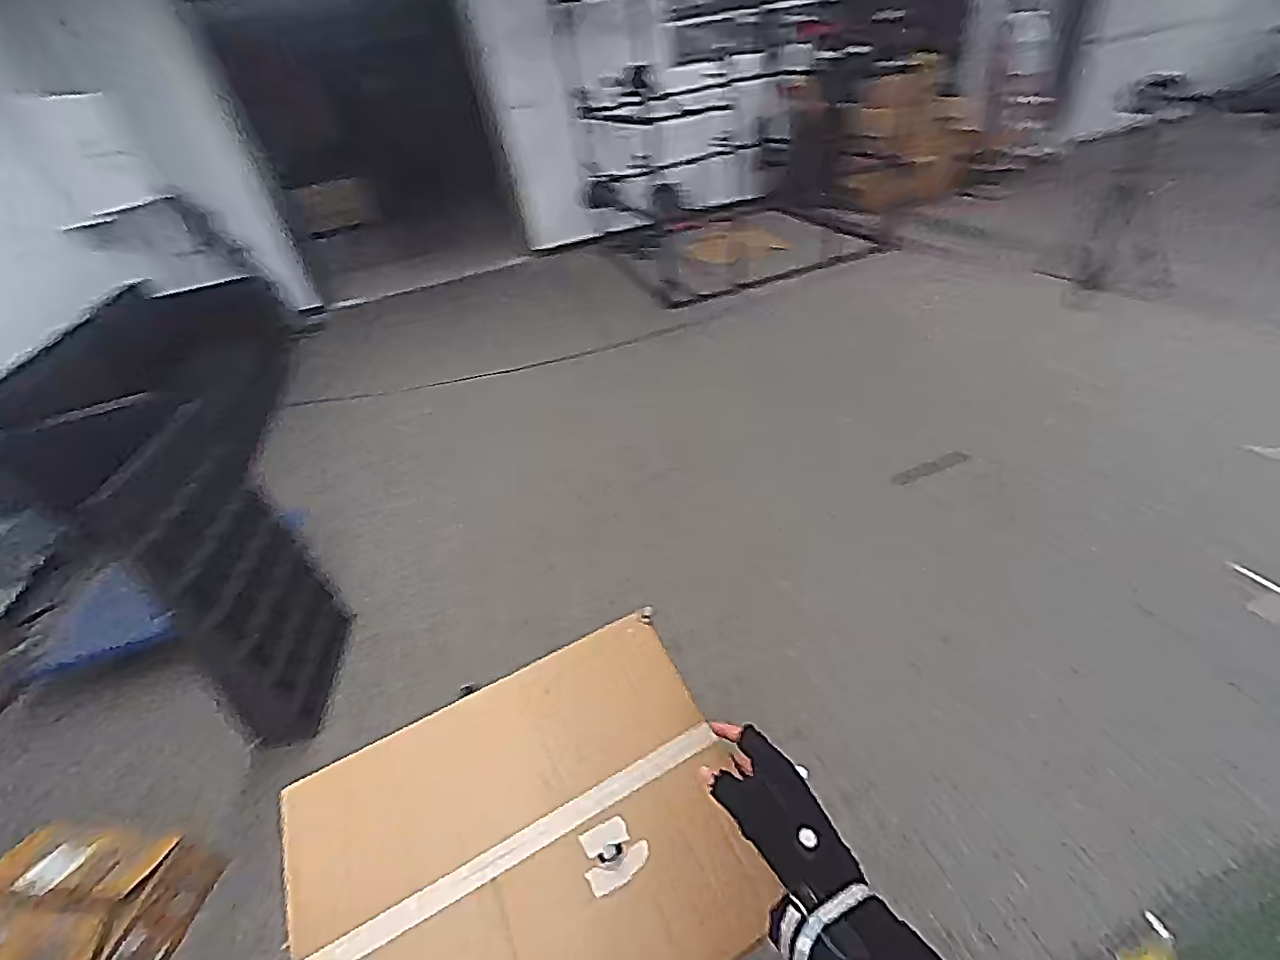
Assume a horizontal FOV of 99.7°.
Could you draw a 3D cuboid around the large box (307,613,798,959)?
[{"bbox_3d":[-0.094,0.433,0.631,0.408,0.320,0.320,-22,53,-16],"label":"large box"}]
